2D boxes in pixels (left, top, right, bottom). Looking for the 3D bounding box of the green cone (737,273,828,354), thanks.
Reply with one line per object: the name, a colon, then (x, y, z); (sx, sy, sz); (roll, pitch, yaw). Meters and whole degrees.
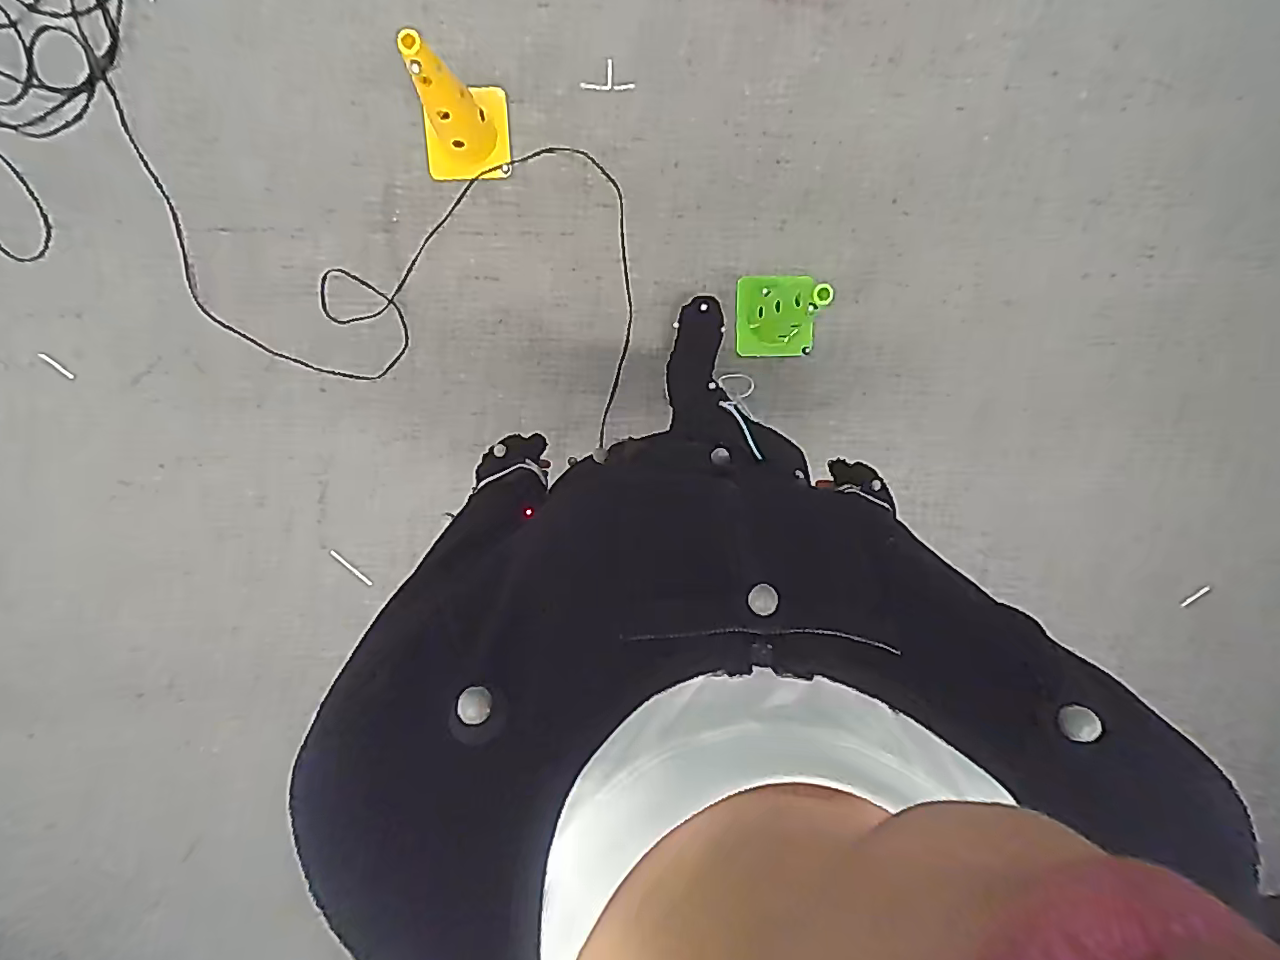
green cone: (0.350, -0.401, 1.222); (0.202, 0.368, 0.200); (-1, 99, 0)
